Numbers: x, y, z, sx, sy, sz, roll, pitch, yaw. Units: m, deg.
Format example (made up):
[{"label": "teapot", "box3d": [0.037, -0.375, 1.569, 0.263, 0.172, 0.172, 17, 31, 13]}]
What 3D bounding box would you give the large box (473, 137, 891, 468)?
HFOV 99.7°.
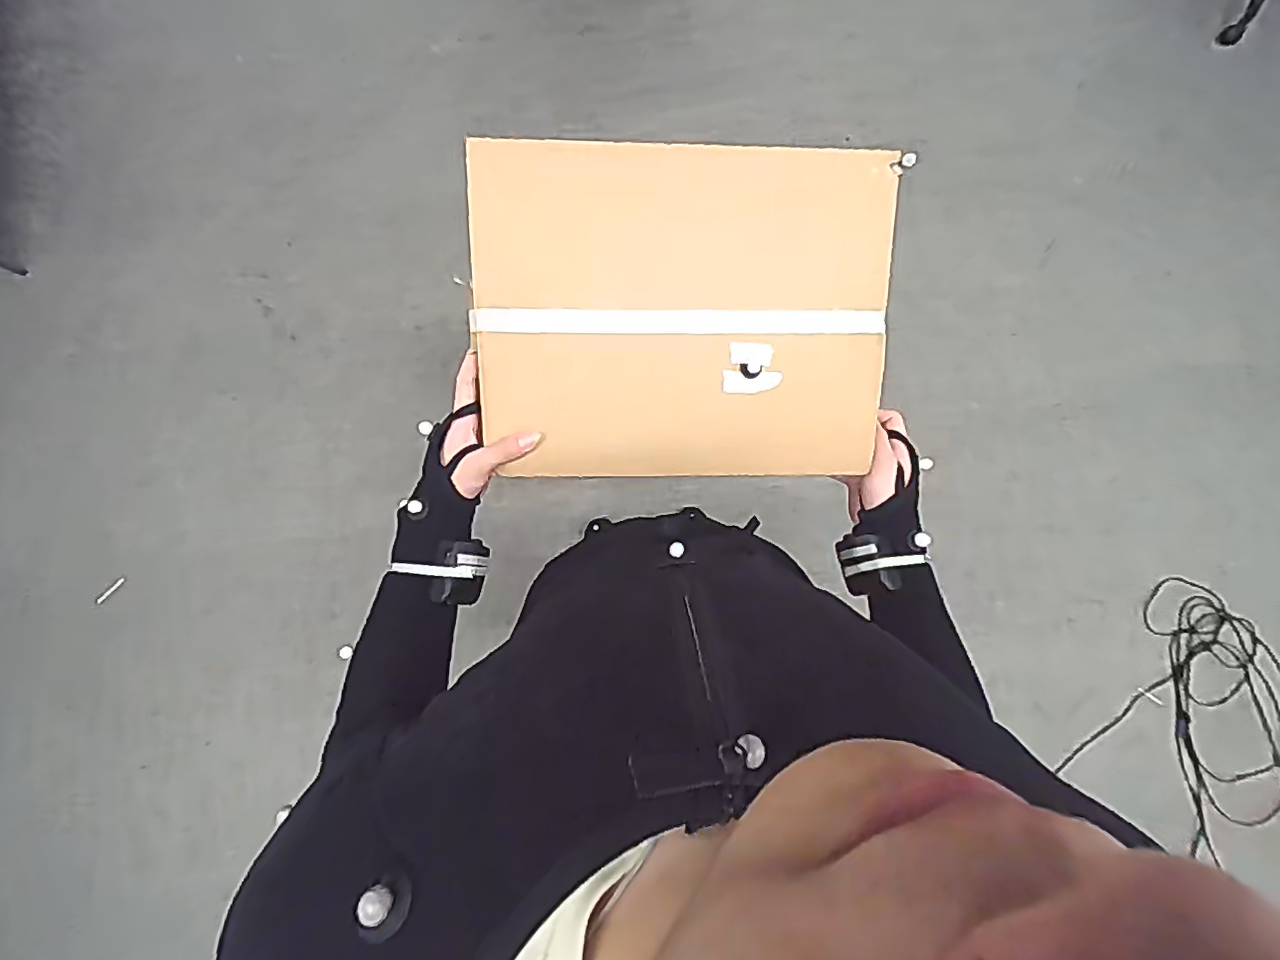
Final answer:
[{"label": "large box", "box3d": [0.034, -0.199, 0.682, 0.408, 0.320, 0.320, -1, 103, -4]}]
